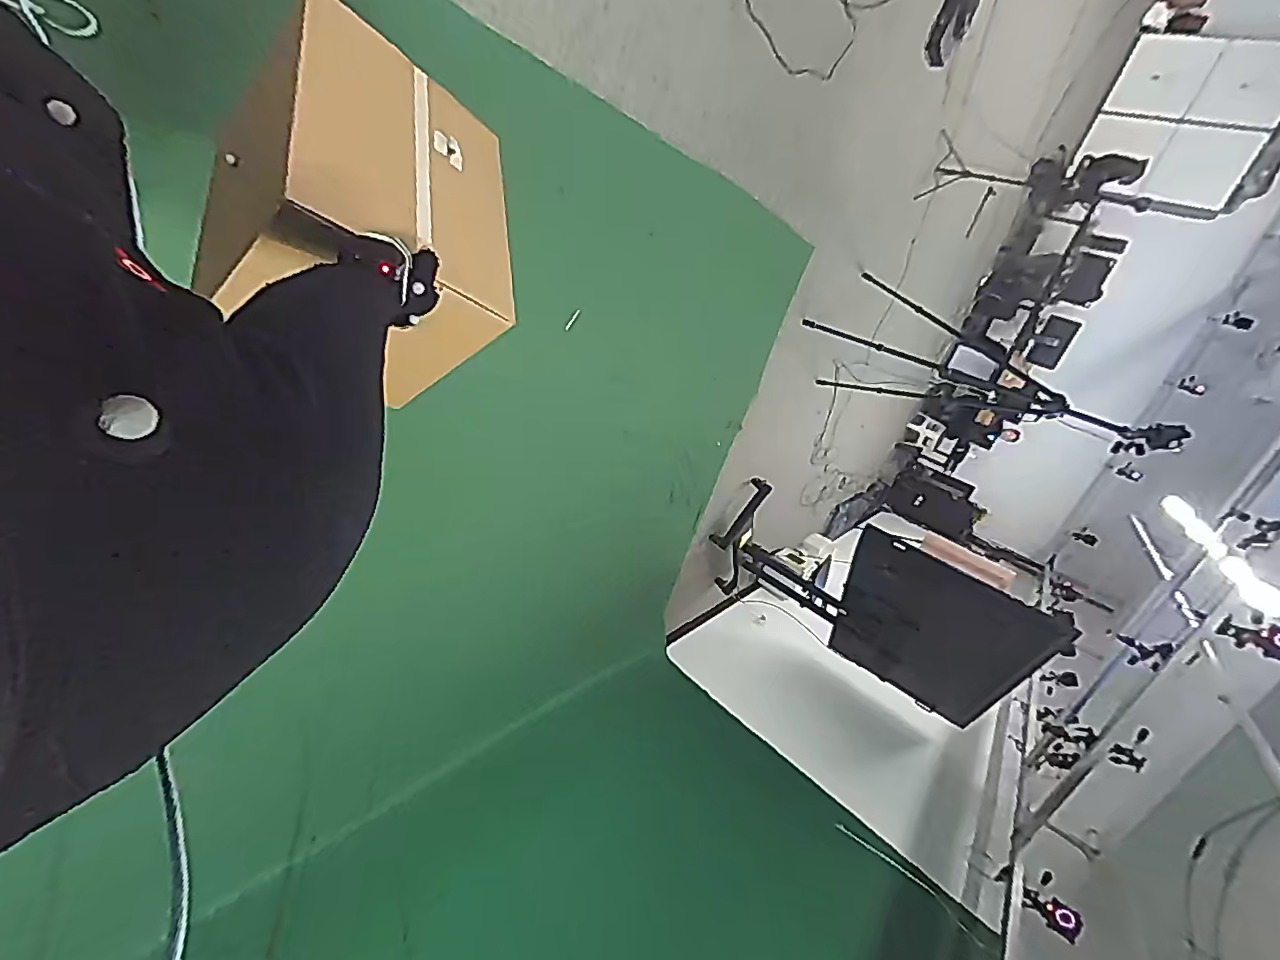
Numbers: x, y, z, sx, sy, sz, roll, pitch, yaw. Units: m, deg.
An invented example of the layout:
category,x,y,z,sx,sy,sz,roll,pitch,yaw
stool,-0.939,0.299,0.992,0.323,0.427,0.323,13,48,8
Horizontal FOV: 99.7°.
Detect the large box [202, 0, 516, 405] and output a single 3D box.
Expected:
category,x,y,z,sx,sy,sz,roll,pitch,yaw
large box,-0.428,-0.388,0.842,0.320,0.408,0.320,-24,155,30
